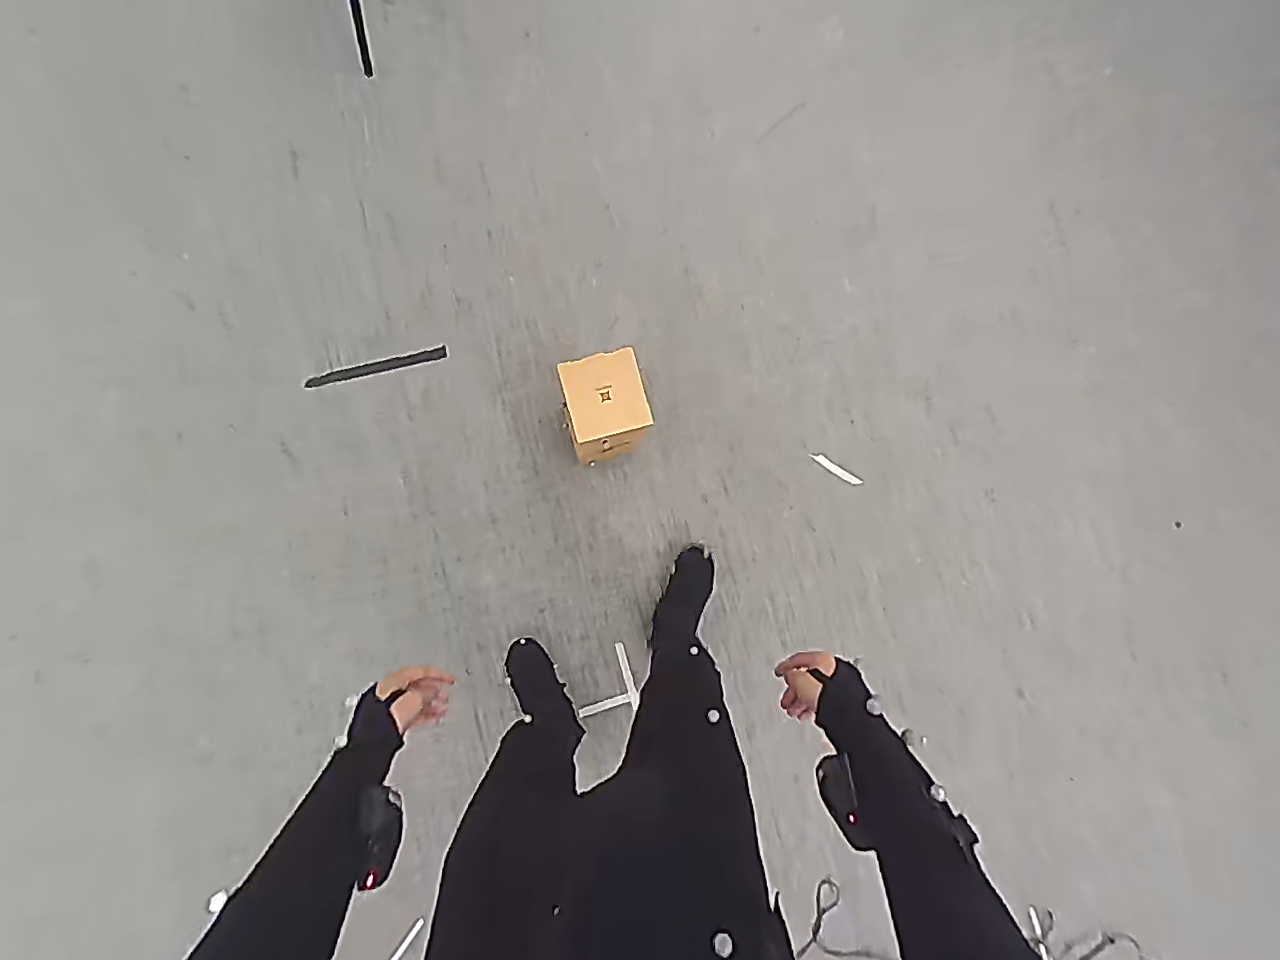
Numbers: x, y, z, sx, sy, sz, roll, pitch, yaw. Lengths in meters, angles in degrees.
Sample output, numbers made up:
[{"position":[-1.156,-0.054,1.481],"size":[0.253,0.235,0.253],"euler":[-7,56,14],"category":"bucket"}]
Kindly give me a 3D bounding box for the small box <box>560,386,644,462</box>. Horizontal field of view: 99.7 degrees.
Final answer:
[{"position":[-0.095,-0.150,1.348],"size":[0.168,0.176,0.179],"euler":[-16,85,-7],"category":"small box"}]

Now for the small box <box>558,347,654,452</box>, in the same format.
[{"position":[-0.076,-0.167,1.188],"size":[0.168,0.176,0.179],"euler":[-15,85,-7],"category":"small box"}]
